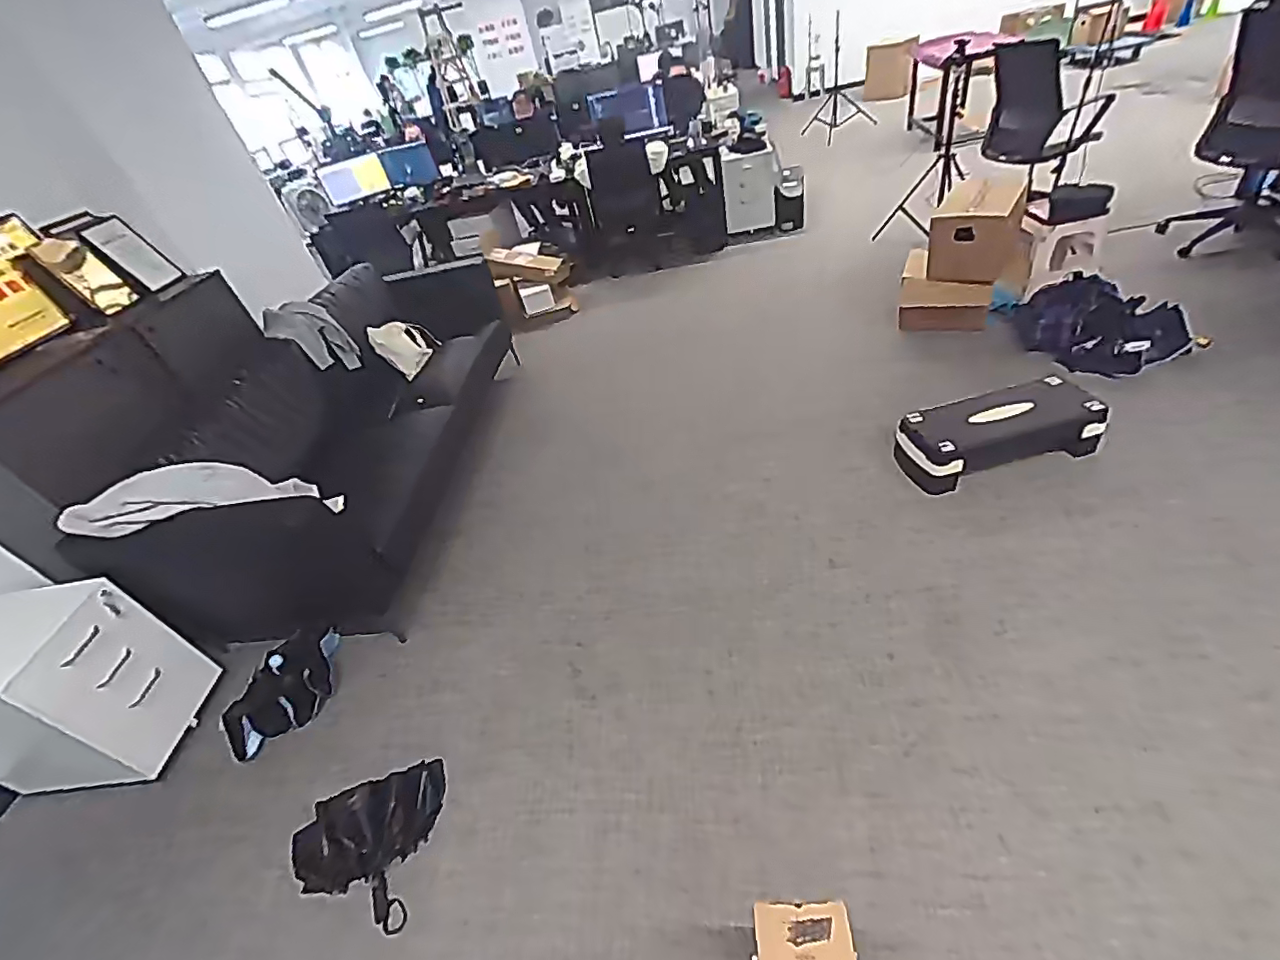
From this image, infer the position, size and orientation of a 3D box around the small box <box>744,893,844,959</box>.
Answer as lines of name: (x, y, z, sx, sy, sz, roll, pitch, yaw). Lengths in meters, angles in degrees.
small box: (0.283, 0.882, 0.985, 0.168, 0.176, 0.179, -8, 41, 9)
